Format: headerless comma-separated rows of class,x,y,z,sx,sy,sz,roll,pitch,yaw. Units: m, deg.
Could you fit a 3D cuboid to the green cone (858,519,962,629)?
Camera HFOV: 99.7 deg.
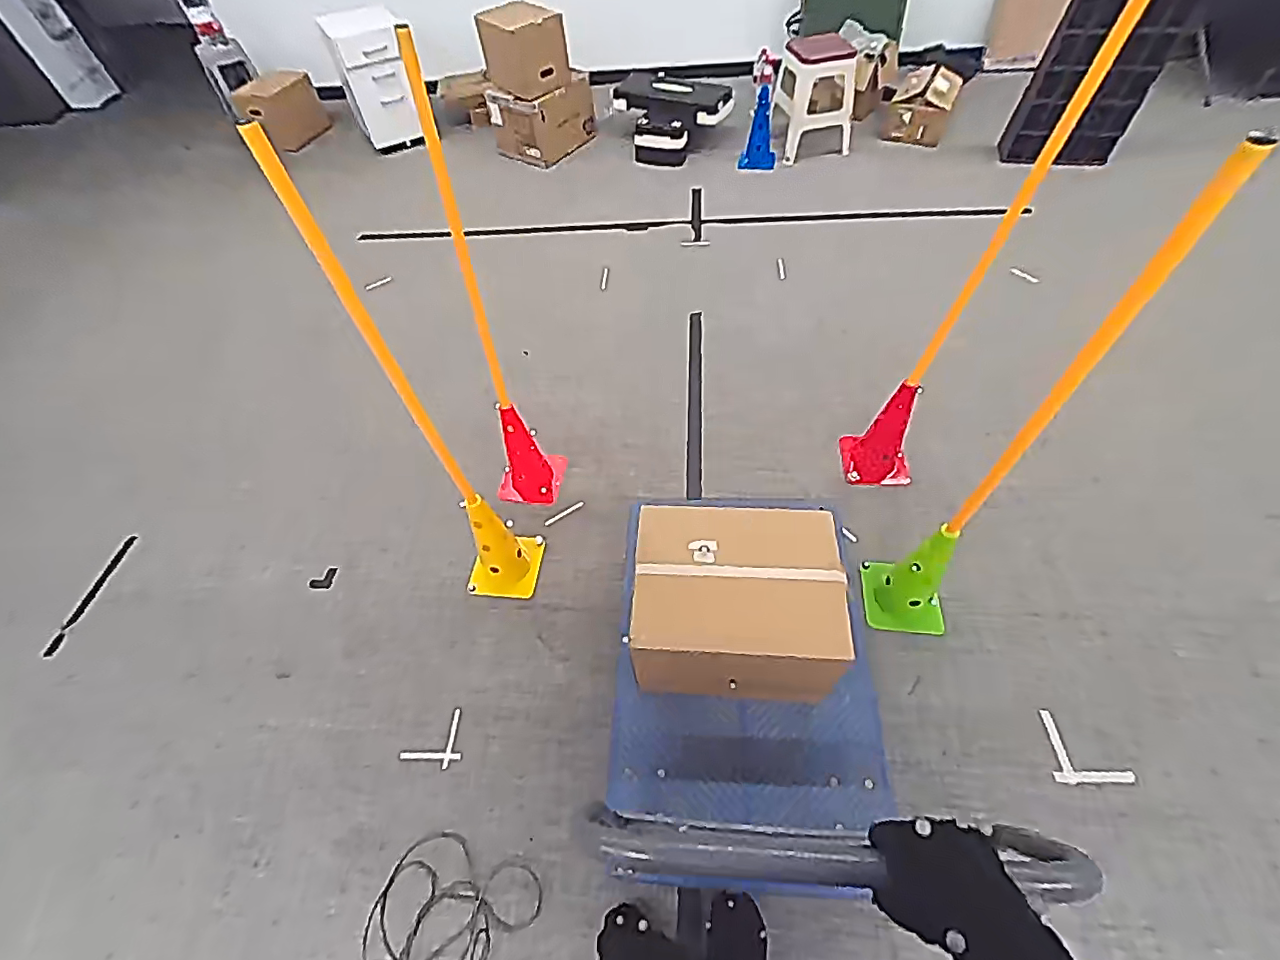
green cone,0.711,0.213,1.367,0.202,0.368,0.200,4,54,6

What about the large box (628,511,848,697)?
large box,0.196,0.278,1.184,0.408,0.320,0.320,1,54,6

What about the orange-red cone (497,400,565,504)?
orange-red cone,-0.375,-0.112,1.690,0.198,0.360,0.199,7,54,8

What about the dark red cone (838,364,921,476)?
dark red cone,0.755,-0.189,1.635,0.201,0.394,0.202,1,55,3
